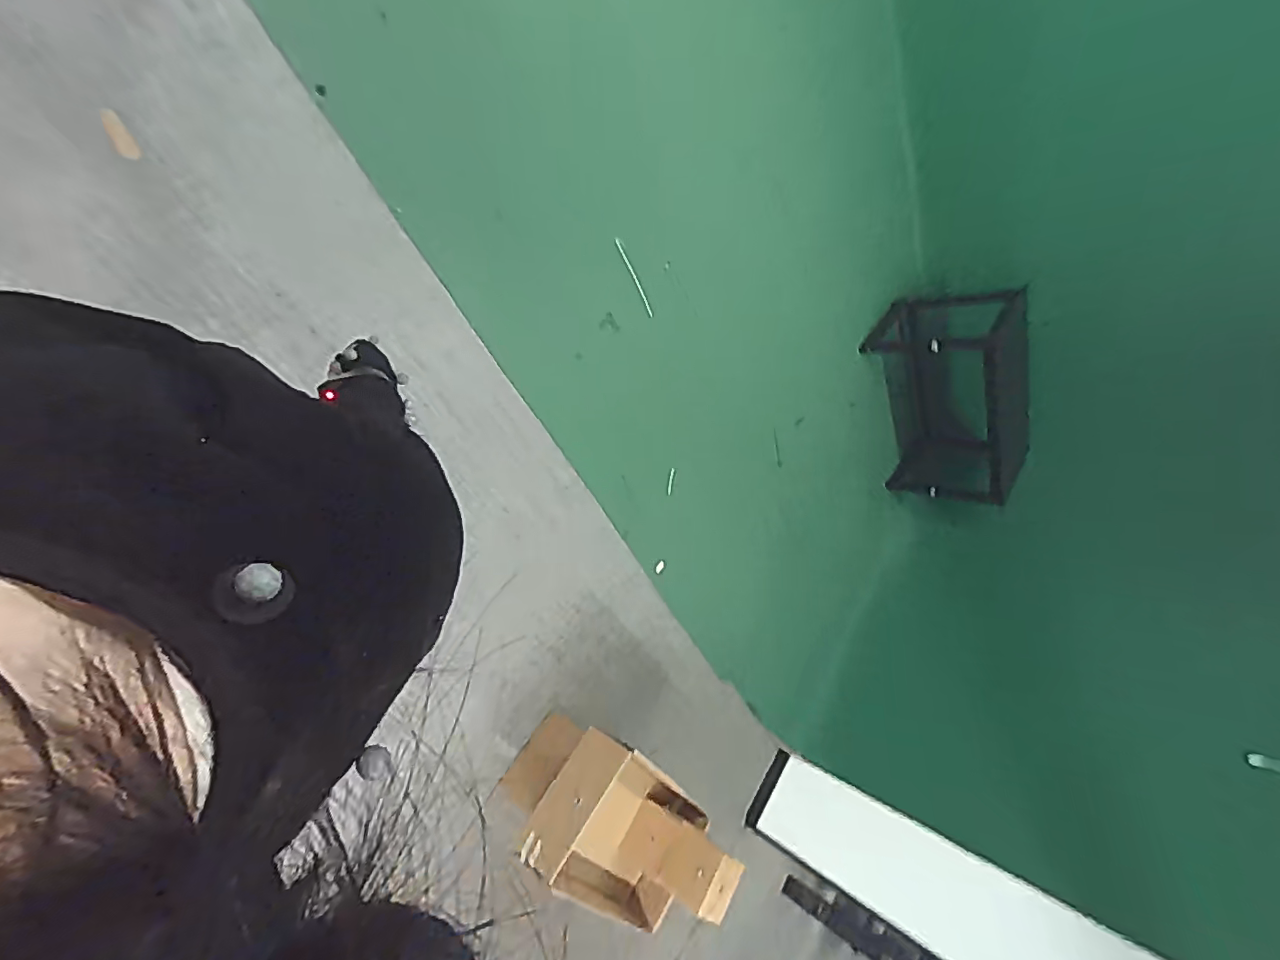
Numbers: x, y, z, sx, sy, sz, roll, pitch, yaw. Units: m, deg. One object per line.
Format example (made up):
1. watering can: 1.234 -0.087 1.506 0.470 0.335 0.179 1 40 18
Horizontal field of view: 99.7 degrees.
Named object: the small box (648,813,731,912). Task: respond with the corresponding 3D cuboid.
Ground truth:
1. small box: 0.147 1.186 1.683 0.179 0.176 0.168 -56 132 -22
